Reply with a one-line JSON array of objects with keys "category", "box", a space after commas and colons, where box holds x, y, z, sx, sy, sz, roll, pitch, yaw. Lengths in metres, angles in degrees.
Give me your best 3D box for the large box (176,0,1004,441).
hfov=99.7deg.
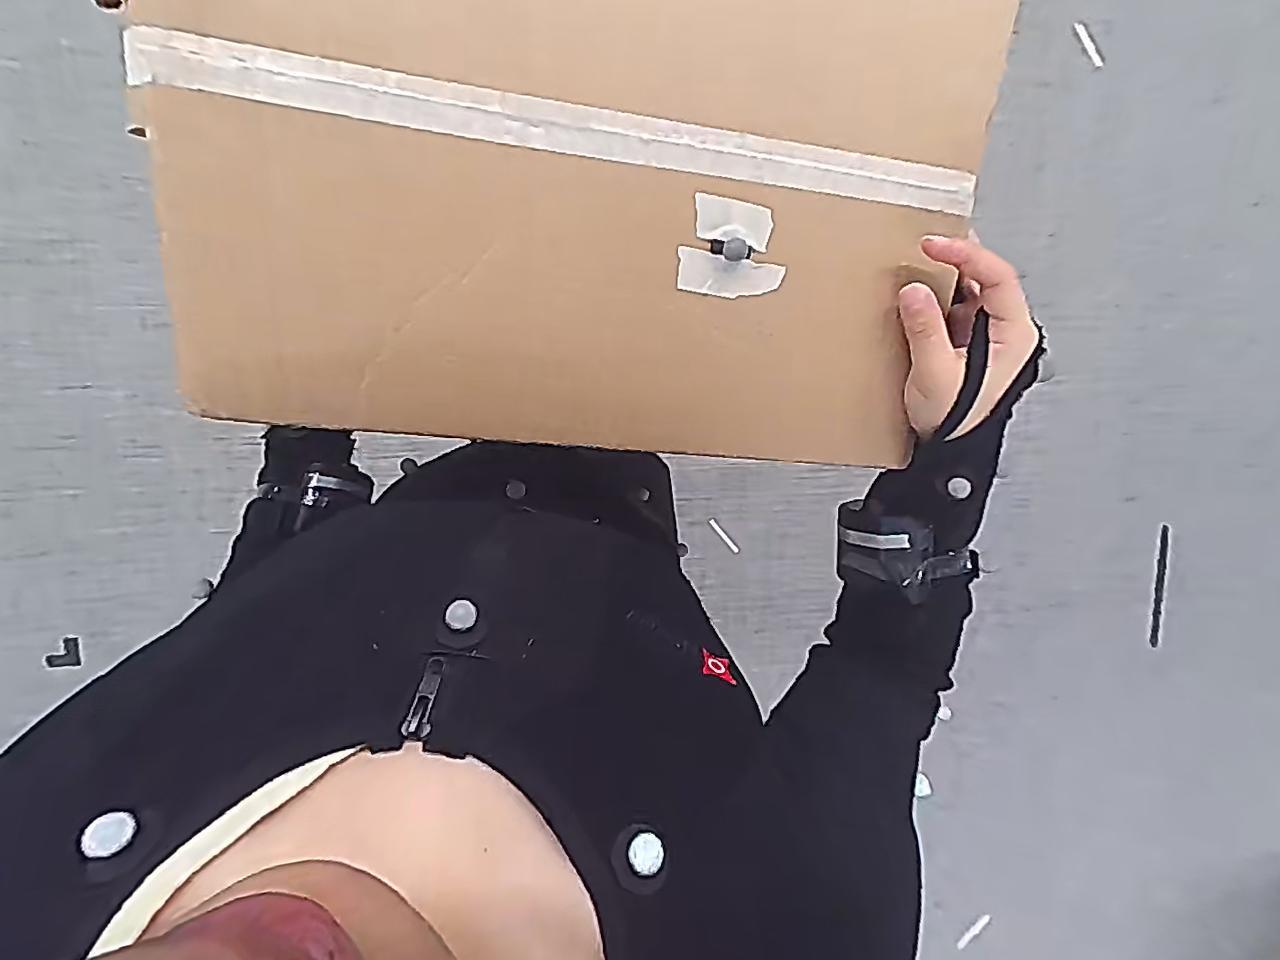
[{"category": "large box", "box": [-0.036, -0.219, 0.416, 0.408, 0.320, 0.320, 3, 106, -11]}]
